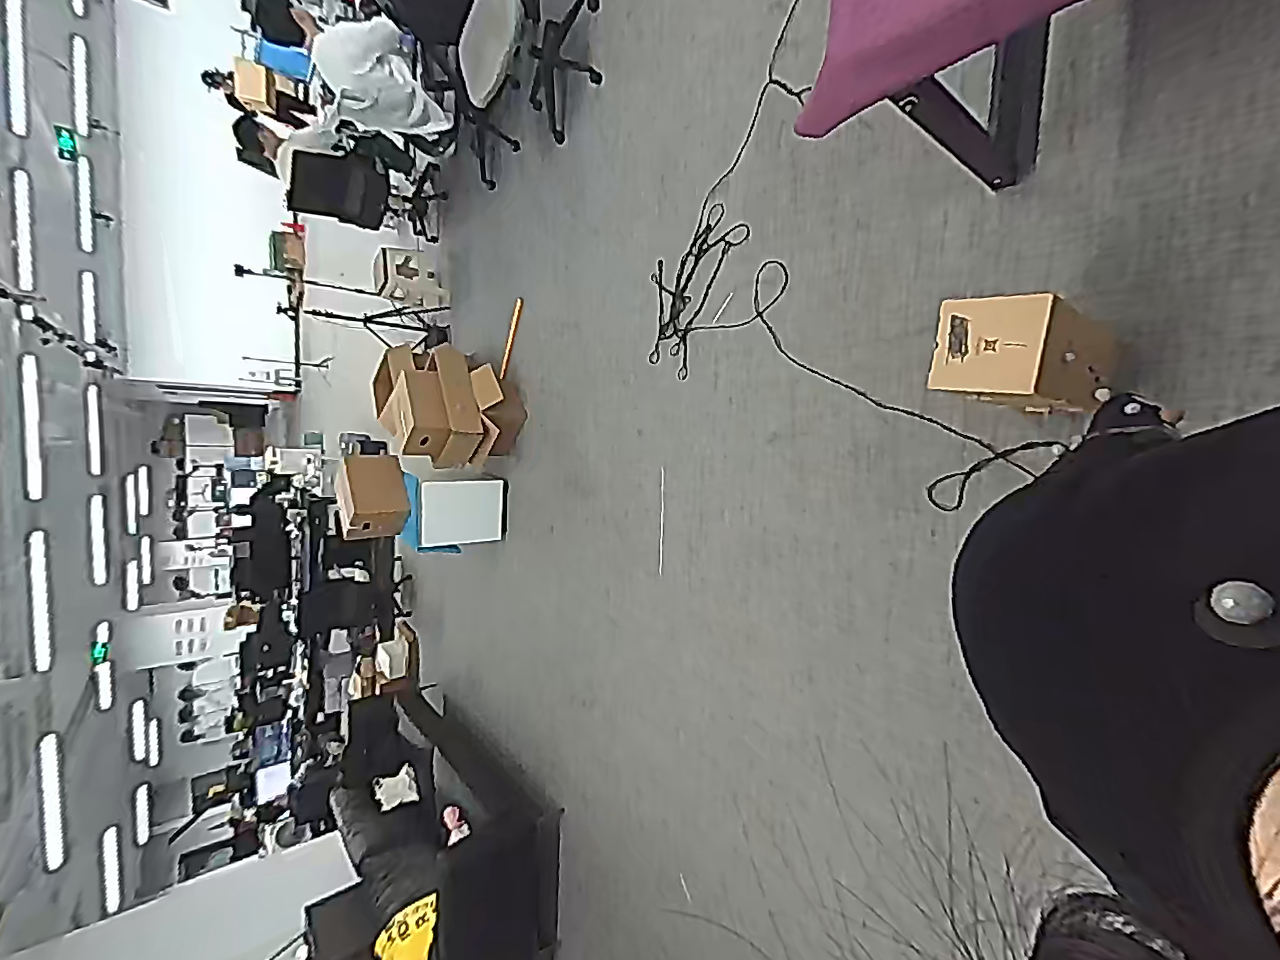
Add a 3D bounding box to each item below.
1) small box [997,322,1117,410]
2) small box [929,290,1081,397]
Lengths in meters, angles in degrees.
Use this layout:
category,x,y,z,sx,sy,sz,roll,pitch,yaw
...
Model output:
category,x,y,z,sx,sy,sz,roll,pitch,yaw
small box,0.929,-0.247,1.203,0.168,0.176,0.179,13,103,50
small box,0.671,-0.245,0.997,0.179,0.176,0.168,16,104,49
